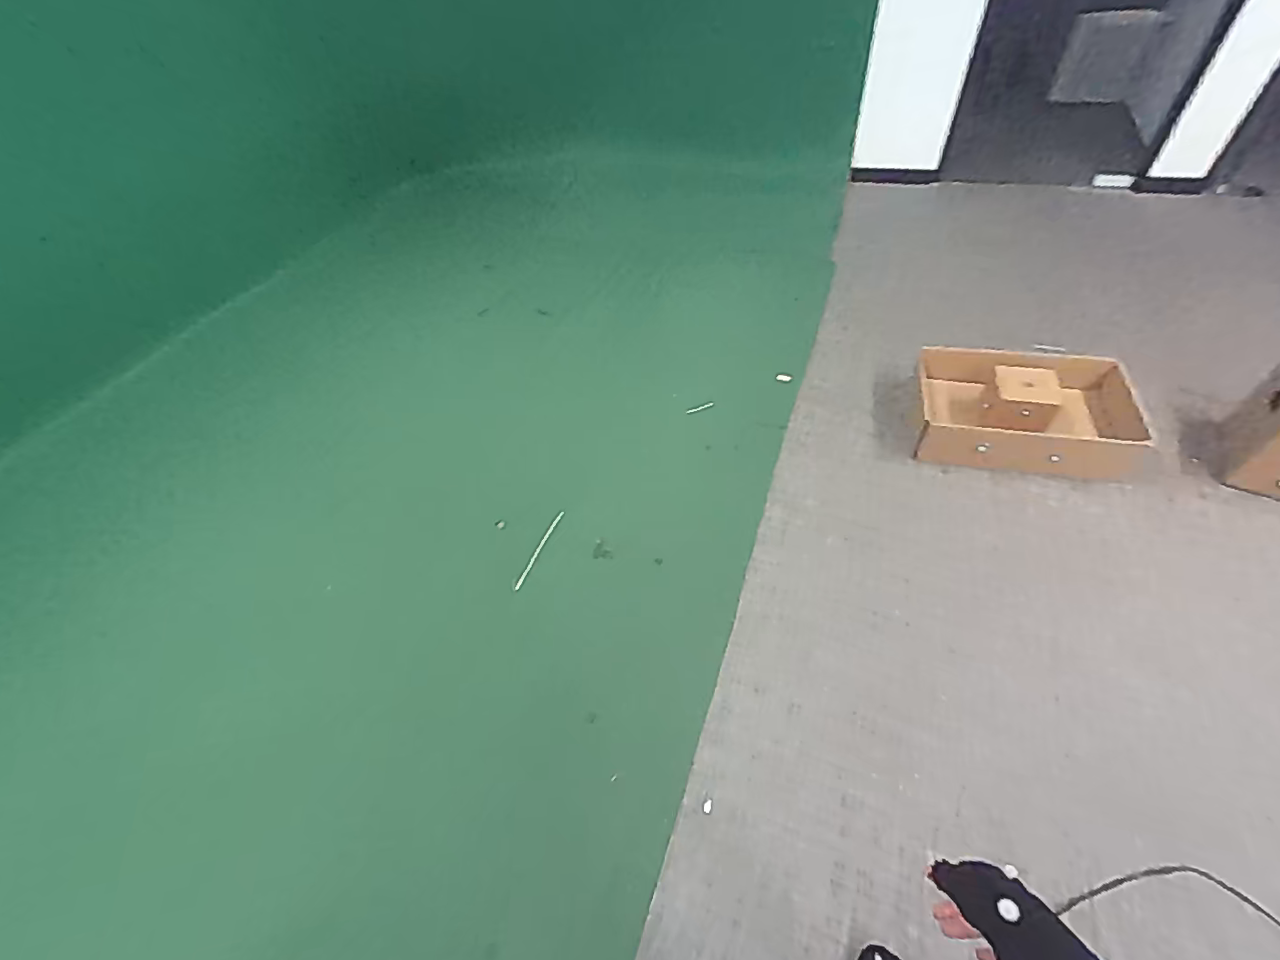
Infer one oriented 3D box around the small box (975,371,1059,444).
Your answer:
[{"bbox_3d":[1.239,-0.238,1.795,0.179,0.176,0.168,9,53,13],"label":"small box"}]
